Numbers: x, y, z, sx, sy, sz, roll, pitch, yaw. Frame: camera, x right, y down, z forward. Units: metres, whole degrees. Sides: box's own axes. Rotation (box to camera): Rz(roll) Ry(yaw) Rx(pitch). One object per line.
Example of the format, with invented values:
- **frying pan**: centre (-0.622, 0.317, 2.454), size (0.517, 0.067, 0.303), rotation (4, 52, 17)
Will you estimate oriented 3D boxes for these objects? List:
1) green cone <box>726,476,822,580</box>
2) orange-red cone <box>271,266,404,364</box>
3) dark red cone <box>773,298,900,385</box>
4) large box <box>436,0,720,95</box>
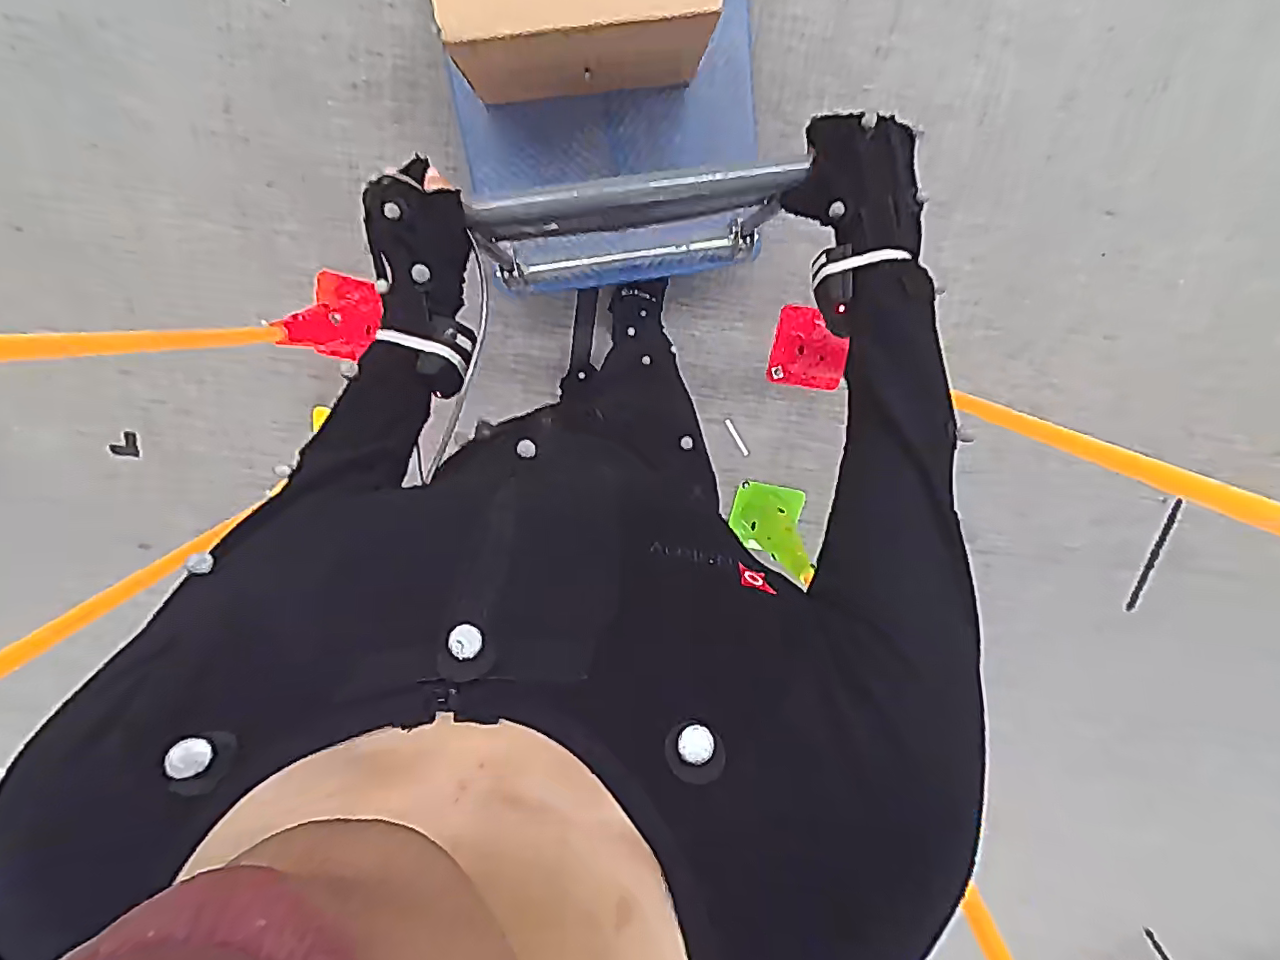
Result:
- **green cone**: centre (0.374, 0.152, 1.394), size (0.202, 0.368, 0.200), rotation (10, 109, -9)
- **orange-red cone**: centre (-0.669, -0.340, 1.146), size (0.198, 0.360, 0.199), rotation (13, 107, -10)
- **dark red cone**: centre (0.462, -0.293, 1.220), size (0.201, 0.394, 0.202), rotation (6, 110, -8)
- **large box**: centre (-0.106, -0.845, 0.845), size (0.408, 0.320, 0.320), rotation (-7, 111, 0)
